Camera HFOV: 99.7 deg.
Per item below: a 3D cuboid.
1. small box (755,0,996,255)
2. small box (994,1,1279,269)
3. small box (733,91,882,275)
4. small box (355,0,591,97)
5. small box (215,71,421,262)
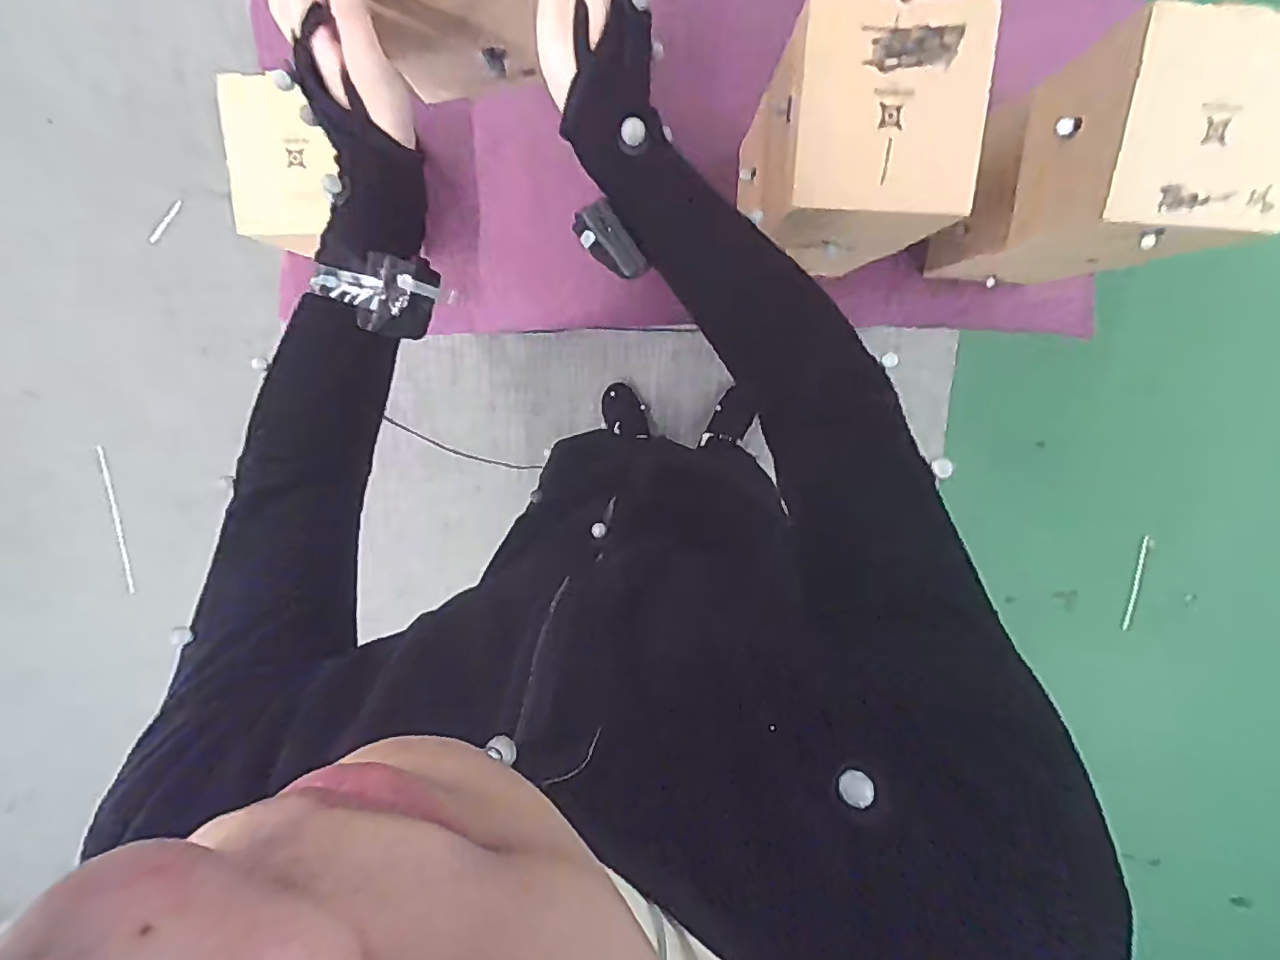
[{"bbox_3d":[0.219,-0.345,0.555,0.168,0.176,0.179,3,102,1],"label":"small box"},{"bbox_3d":[0.501,-0.329,0.551,0.168,0.176,0.179,5,101,1],"label":"small box"},{"bbox_3d":[0.220,-0.375,0.716,0.168,0.176,0.179,2,101,0],"label":"small box"},{"bbox_3d":[-0.135,-0.426,0.396,0.168,0.176,0.179,-9,103,2],"label":"small box"},{"bbox_3d":[-0.407,-0.398,0.713,0.168,0.176,0.179,0,102,1],"label":"small box"}]
